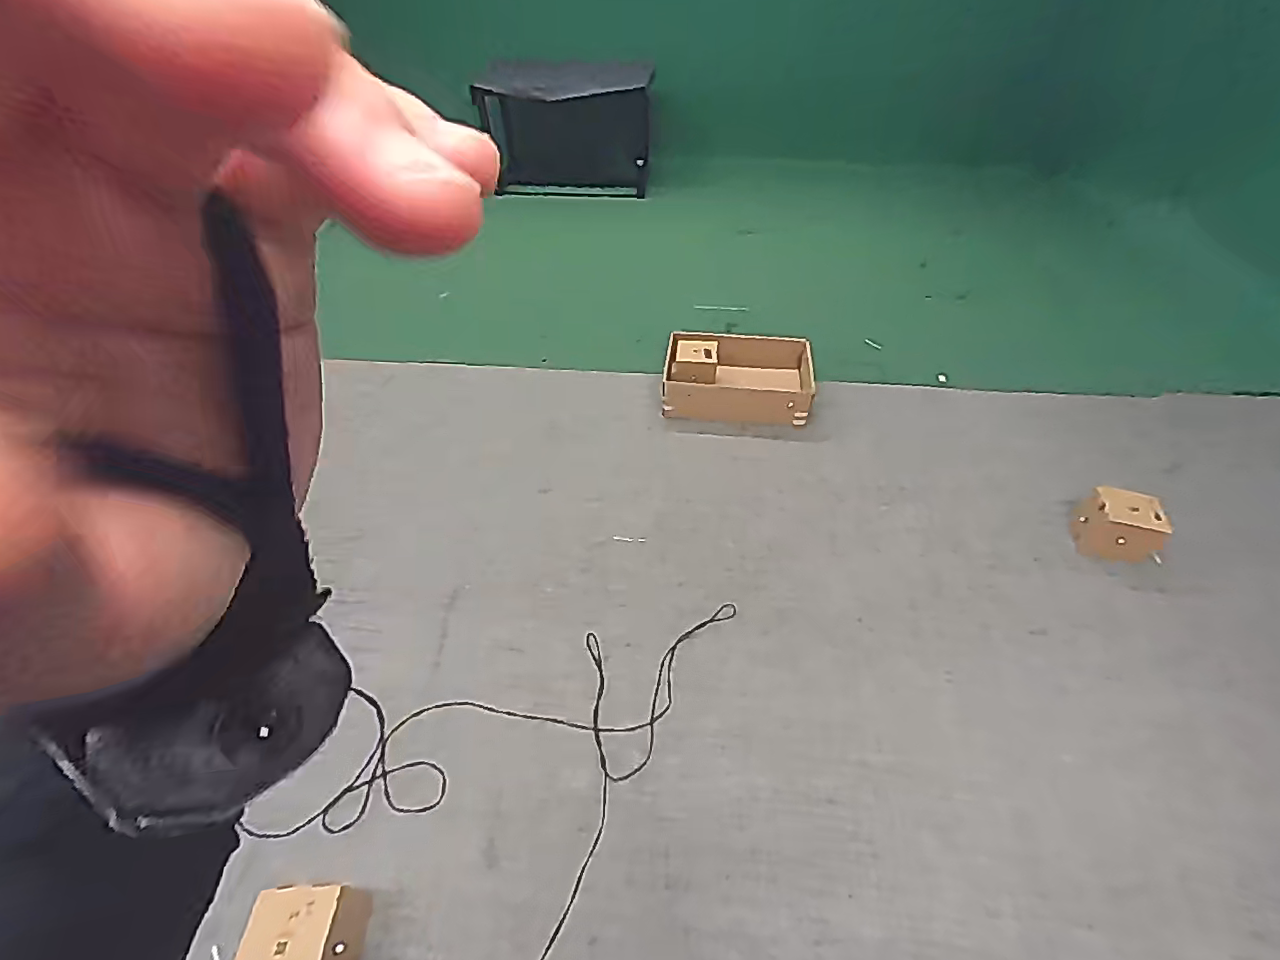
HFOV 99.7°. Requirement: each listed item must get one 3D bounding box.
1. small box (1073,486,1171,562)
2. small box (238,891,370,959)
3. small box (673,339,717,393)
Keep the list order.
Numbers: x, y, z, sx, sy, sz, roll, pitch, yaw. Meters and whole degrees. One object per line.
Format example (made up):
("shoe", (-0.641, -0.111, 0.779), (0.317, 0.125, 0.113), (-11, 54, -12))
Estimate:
("small box", (1.572, 0.148, 1.784), (0.179, 0.176, 0.168), (12, 48, 14))
("small box", (-0.665, 0.940, 1.072), (0.168, 0.176, 0.179), (-3, 45, -1))
("small box", (0.241, -0.493, 2.356), (0.179, 0.176, 0.168), (4, 47, 6))
